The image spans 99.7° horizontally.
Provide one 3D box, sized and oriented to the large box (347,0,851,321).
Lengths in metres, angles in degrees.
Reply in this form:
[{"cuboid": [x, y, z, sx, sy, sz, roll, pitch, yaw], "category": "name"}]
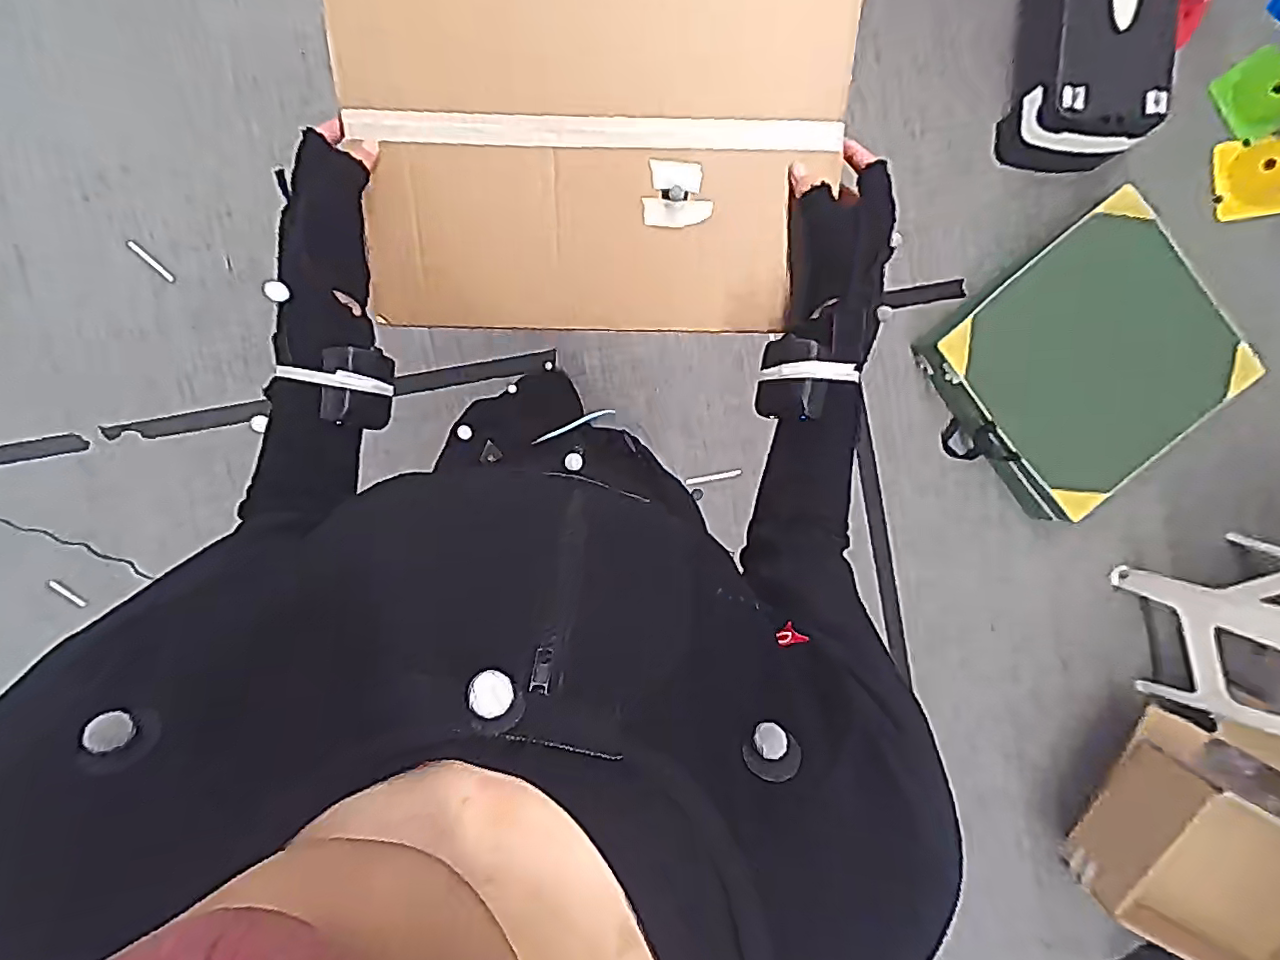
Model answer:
[{"cuboid": [-0.038, -0.352, 0.595, 0.408, 0.320, 0.320, 0, 113, -3], "category": "large box"}]
